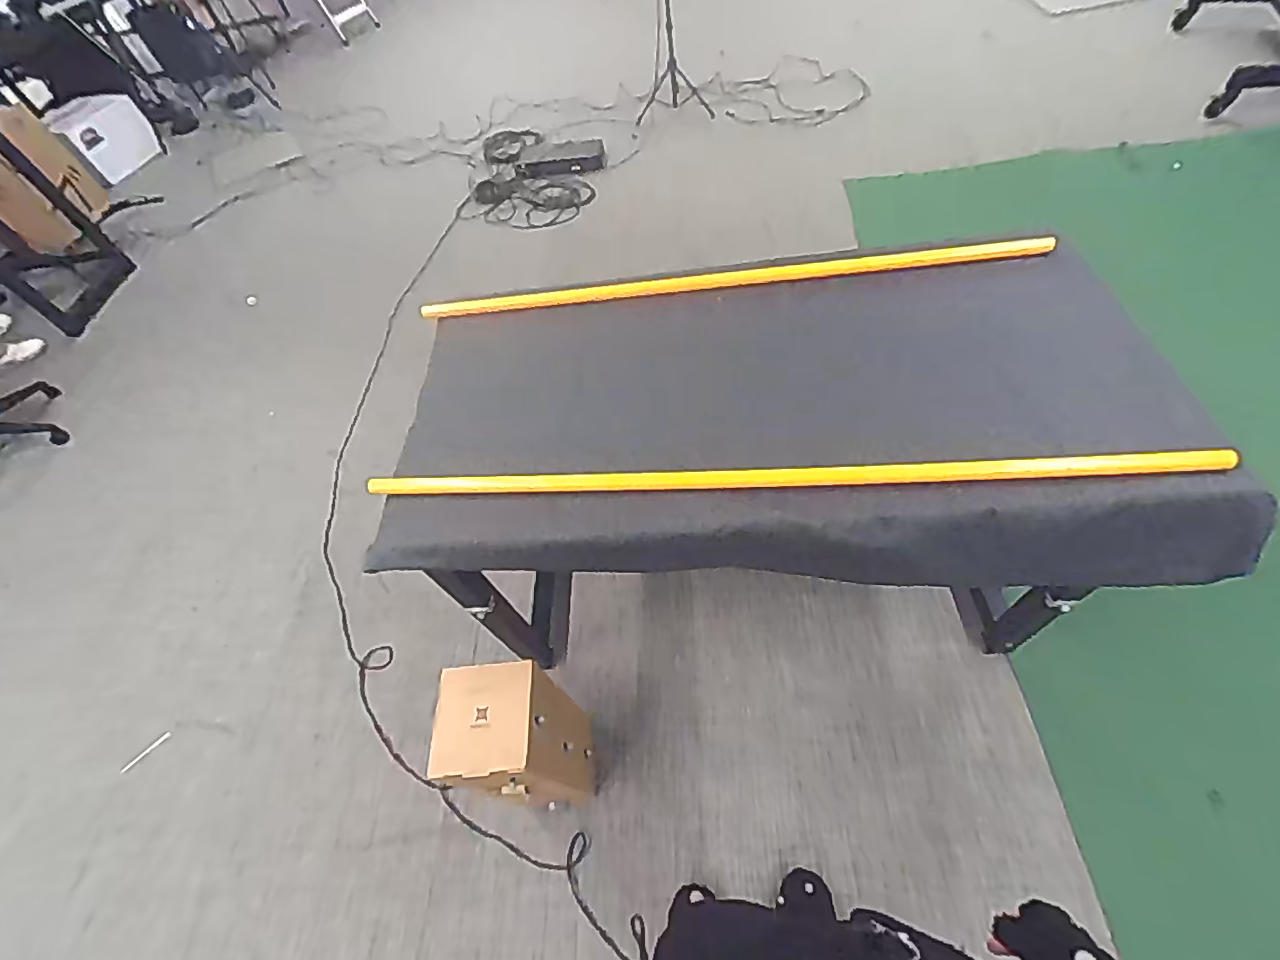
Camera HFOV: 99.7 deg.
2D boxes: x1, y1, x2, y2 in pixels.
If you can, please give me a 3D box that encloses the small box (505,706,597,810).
[{"bbox_3d":[-0.197,0.634,1.226,0.168,0.176,0.179,-10,55,3],"label":"small box"}]
